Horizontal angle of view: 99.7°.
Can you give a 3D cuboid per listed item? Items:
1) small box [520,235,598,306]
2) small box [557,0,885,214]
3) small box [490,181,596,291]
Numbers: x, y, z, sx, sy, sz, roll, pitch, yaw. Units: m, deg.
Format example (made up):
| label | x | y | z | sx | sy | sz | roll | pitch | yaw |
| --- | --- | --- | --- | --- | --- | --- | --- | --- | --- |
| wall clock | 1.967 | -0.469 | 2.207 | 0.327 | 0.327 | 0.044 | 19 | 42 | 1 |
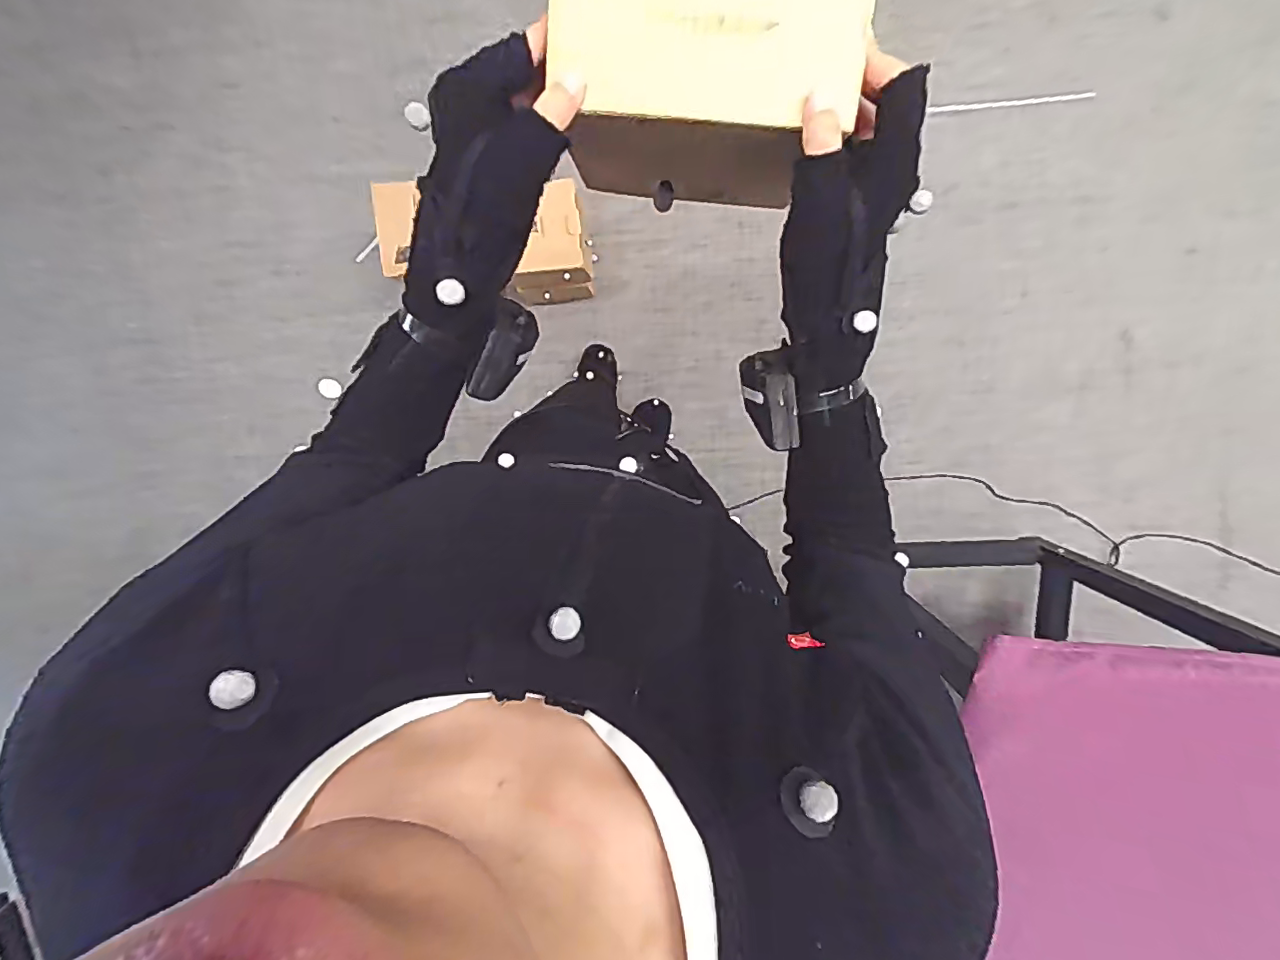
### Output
| label | x | y | z | sx | sy | sz | roll | pitch | yaw |
| --- | --- | --- | --- | --- | --- | --- | --- | --- | --- |
| small box | -0.197 | -0.527 | 1.297 | 0.168 | 0.176 | 0.179 | -5 | 99 | 3 |
| small box | 0.048 | -0.290 | 0.345 | 0.168 | 0.176 | 0.179 | 5 | 104 | 2 |
| small box | -0.196 | -0.503 | 1.136 | 0.179 | 0.176 | 0.168 | -6 | 100 | 2 |
